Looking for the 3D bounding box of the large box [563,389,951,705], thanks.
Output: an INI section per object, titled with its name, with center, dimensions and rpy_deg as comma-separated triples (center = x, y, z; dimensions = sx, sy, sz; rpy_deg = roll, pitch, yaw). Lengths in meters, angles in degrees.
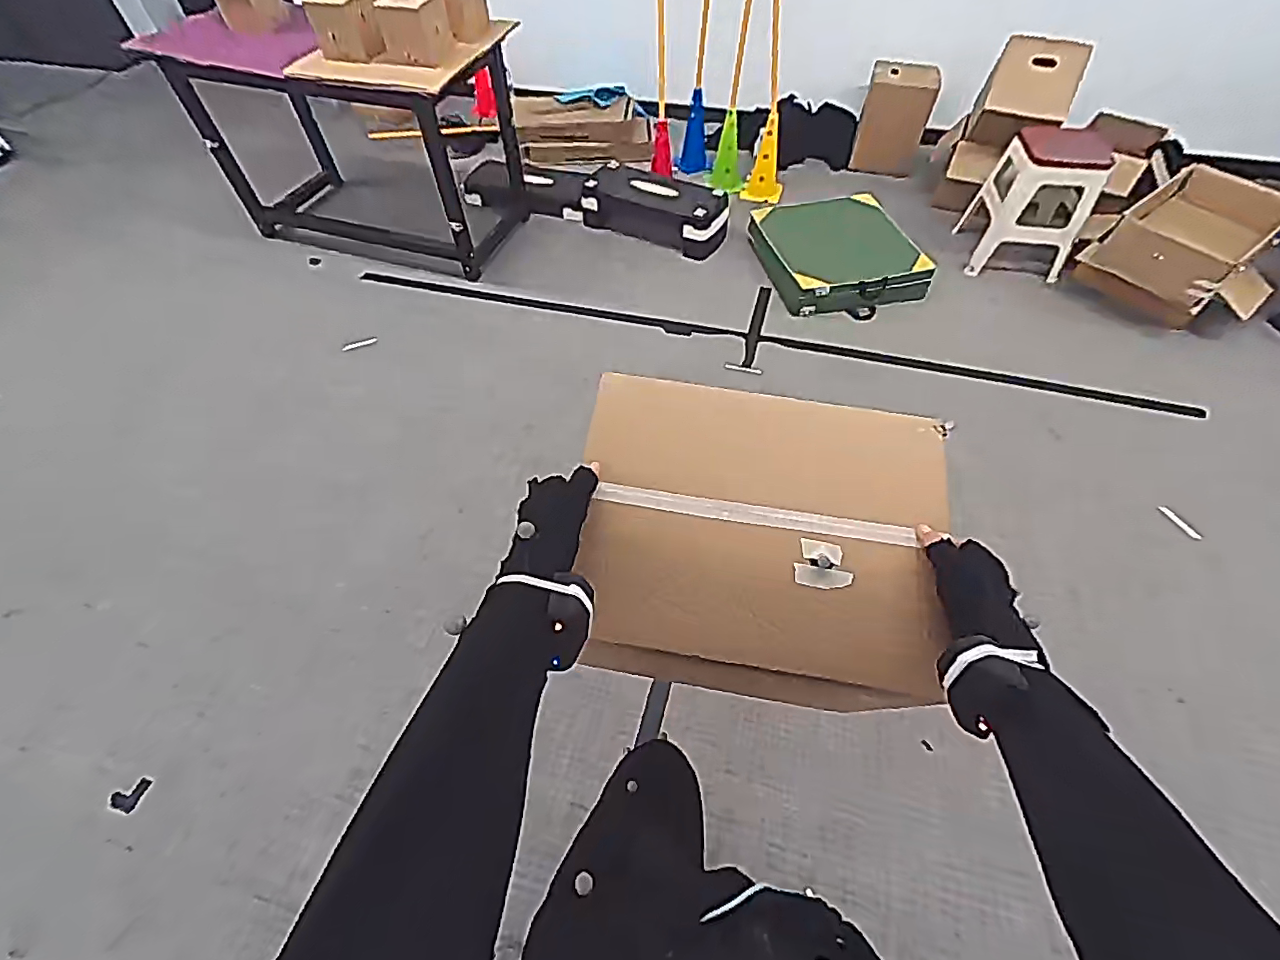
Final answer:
[large box]
center = 0.132, 0.110, 0.742
dimensions = 0.408, 0.320, 0.320
rpy_deg = 9, 66, 3
